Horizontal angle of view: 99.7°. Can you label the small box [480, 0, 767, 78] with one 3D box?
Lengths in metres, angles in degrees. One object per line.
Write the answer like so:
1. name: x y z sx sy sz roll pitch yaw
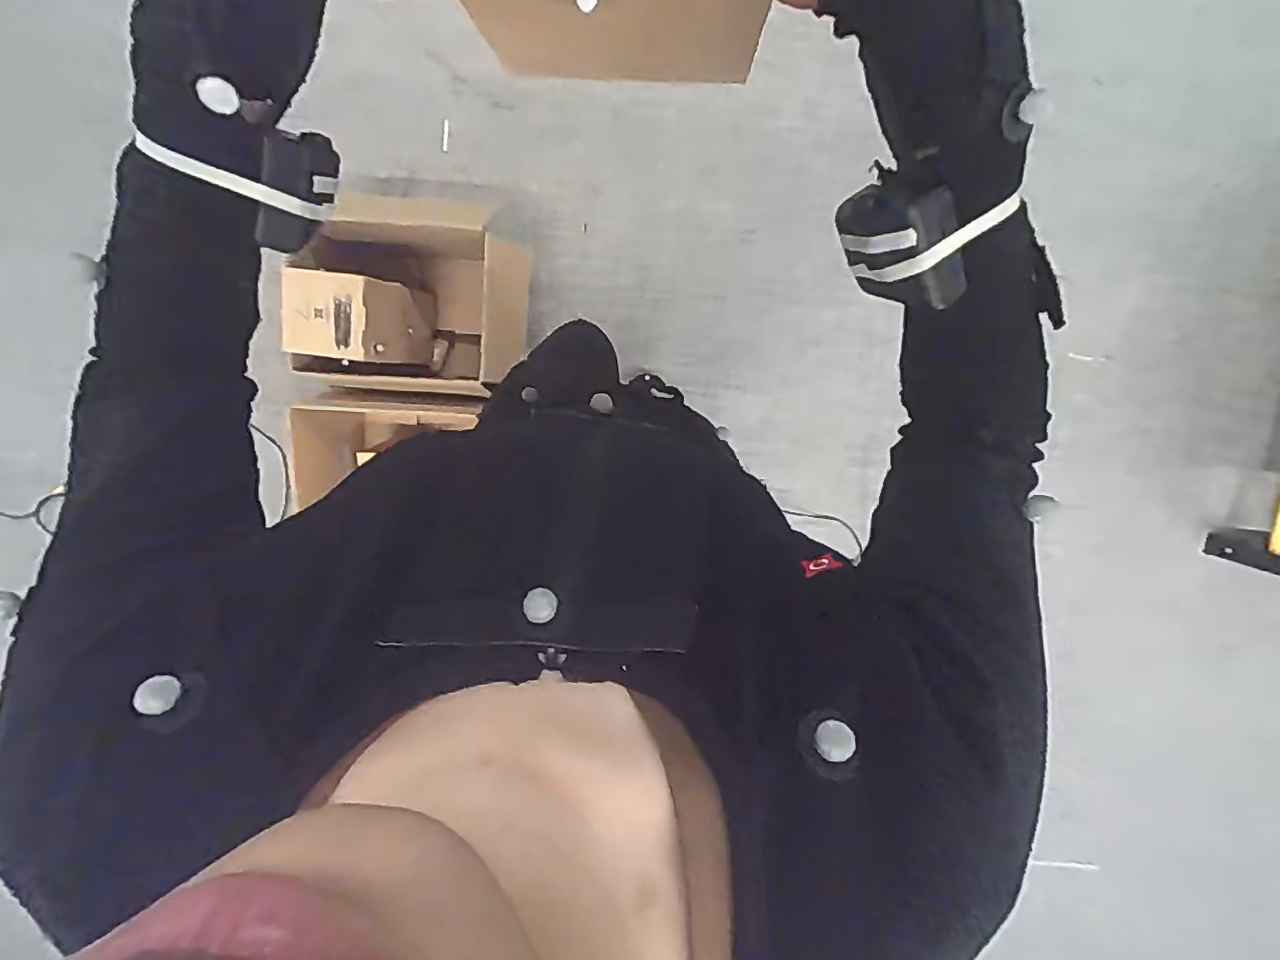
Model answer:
1. small box: -0.008 -0.345 0.288 0.179 0.176 0.168 4 107 1
